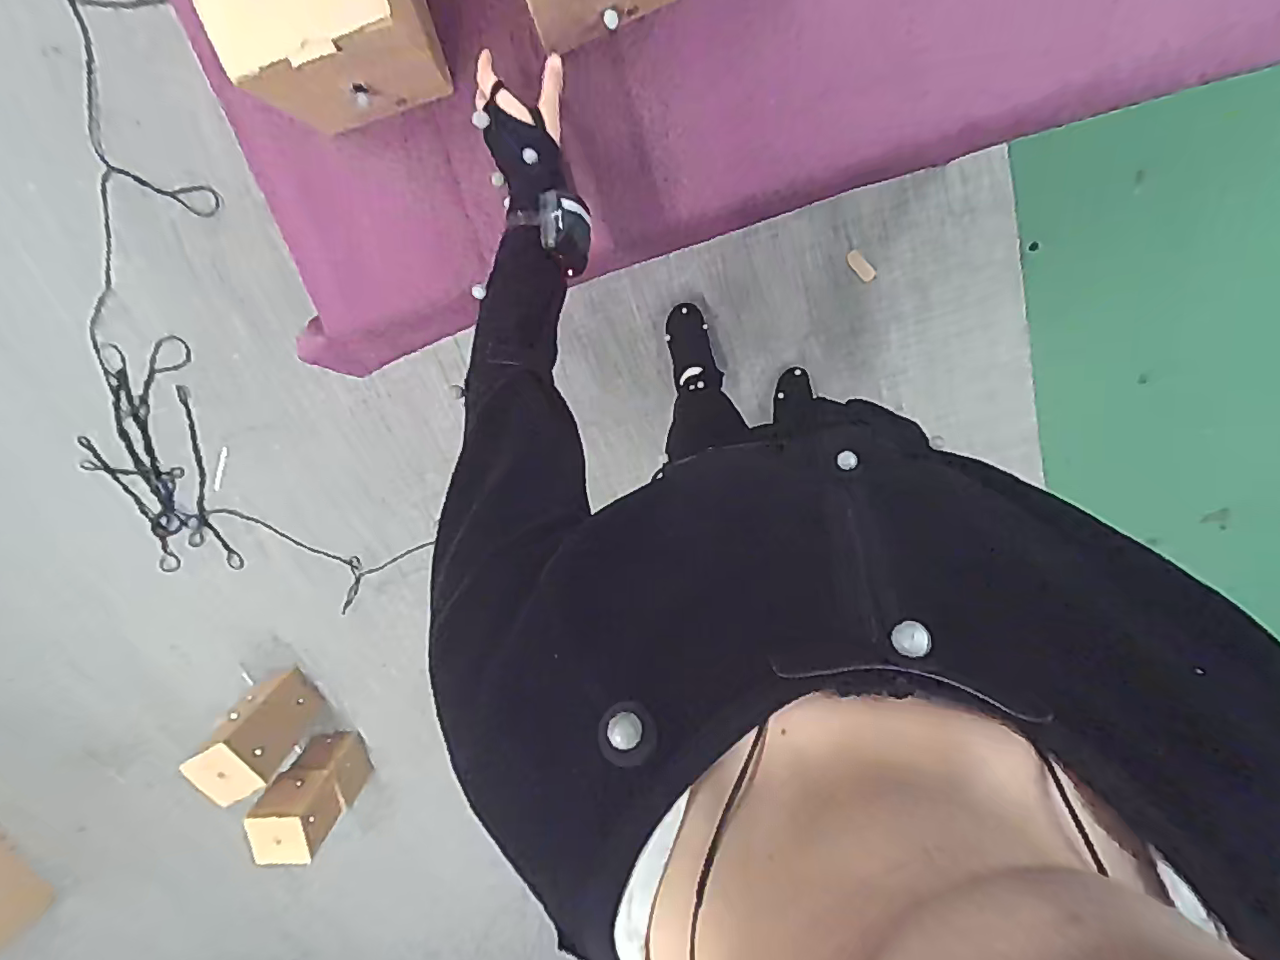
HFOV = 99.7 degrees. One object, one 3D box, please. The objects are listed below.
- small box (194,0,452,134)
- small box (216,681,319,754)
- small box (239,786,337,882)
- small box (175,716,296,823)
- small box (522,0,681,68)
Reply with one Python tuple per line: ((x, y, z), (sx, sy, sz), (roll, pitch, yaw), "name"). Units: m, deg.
((-0.316, -0.477, 0.542), (0.168, 0.176, 0.179), (-16, 107, 5), "small box")
((-1.138, 0.759, 1.677), (0.179, 0.176, 0.168), (-25, 105, 8), "small box")
((-1.025, 1.039, 1.593), (0.168, 0.176, 0.179), (-2, 105, 2), "small box")
((-1.125, 0.808, 1.522), (0.168, 0.176, 0.179), (-29, 105, 8), "small box")
((-0.059, -0.551, 0.515), (0.168, 0.176, 0.179), (-21, 105, 7), "small box")
